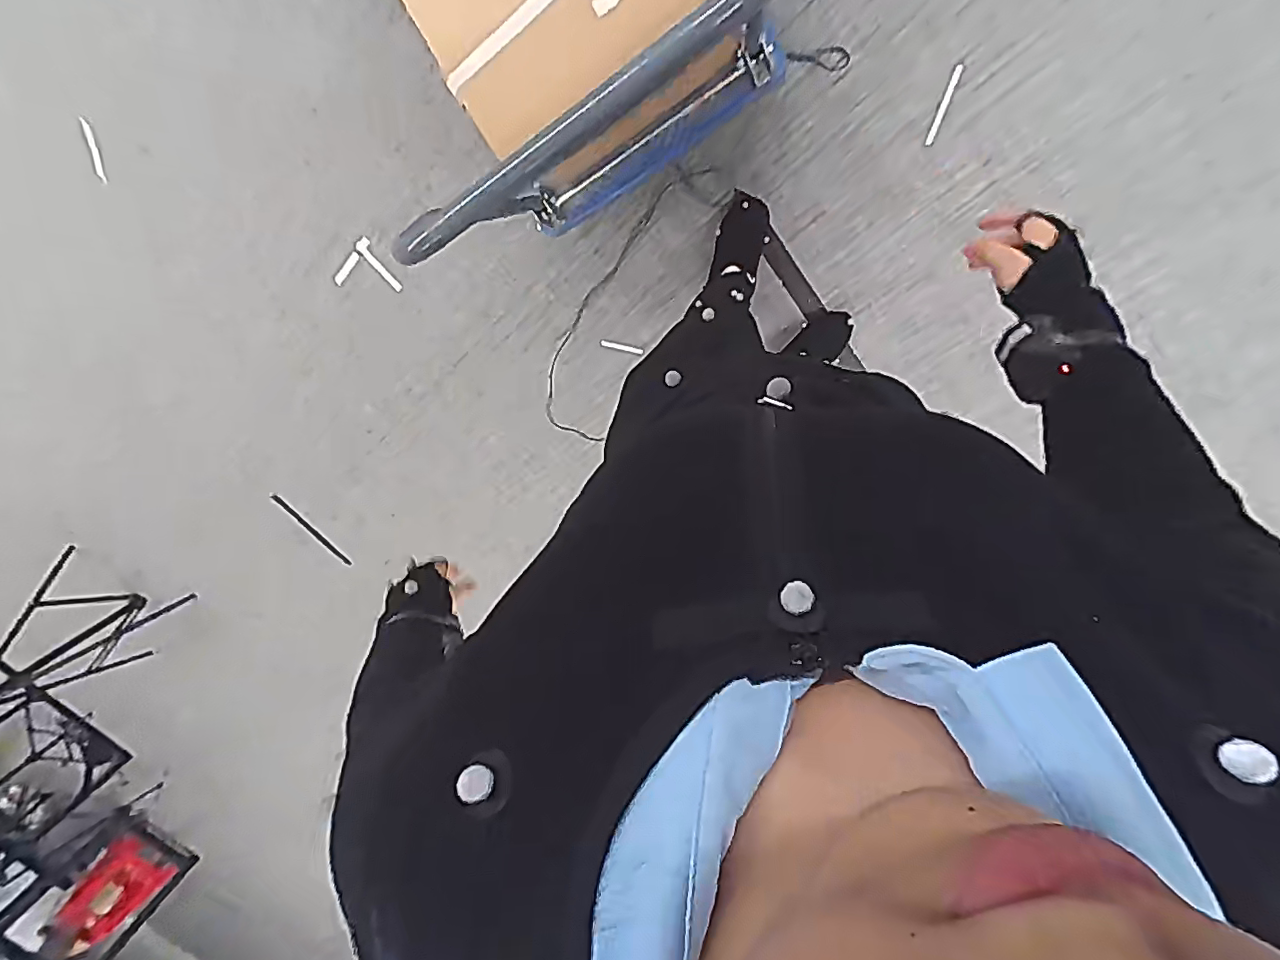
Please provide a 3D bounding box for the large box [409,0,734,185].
[{"bbox_3d":[-0.091,-0.763,0.905,0.408,0.320,0.320,-25,110,22],"label":"large box"}]
